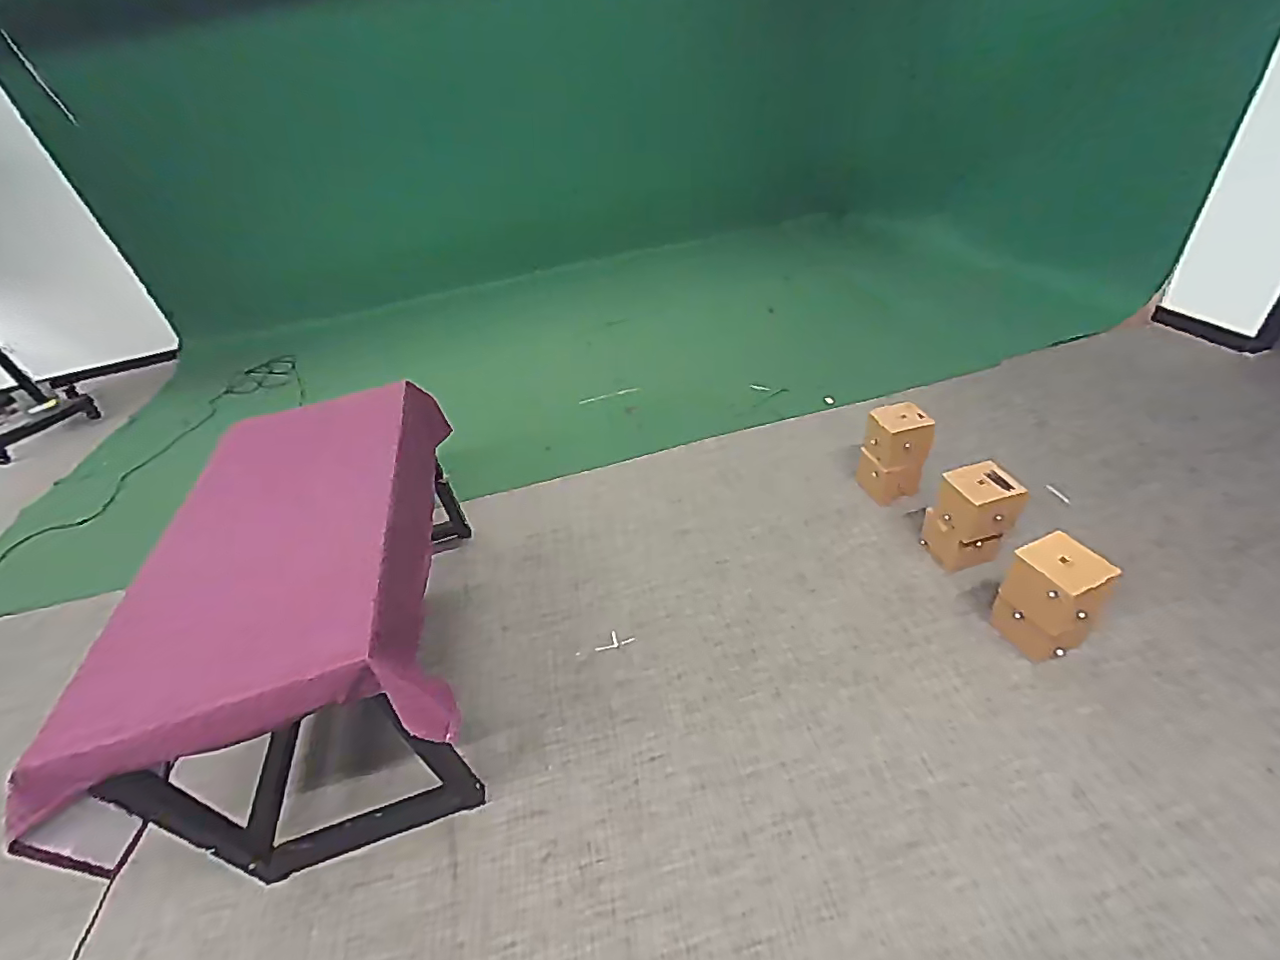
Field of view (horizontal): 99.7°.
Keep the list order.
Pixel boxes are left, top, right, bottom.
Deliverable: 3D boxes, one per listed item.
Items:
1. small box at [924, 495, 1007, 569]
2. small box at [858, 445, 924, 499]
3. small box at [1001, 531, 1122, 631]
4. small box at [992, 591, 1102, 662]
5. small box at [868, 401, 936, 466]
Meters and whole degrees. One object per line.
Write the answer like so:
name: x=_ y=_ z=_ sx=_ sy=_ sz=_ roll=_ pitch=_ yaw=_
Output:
small box: x=1.102 y=0.181 z=1.849 sx=0.179 sy=0.176 sz=0.168 roll=-15 pitch=39 yaw=-5
small box: x=0.990 y=-0.041 z=2.149 sx=0.168 sy=0.176 sz=0.179 roll=-15 pitch=39 yaw=-6
small box: x=1.131 y=0.275 z=1.469 sx=0.168 sy=0.176 sz=0.179 roll=-21 pitch=40 yaw=-10
small box: x=1.171 y=0.393 z=1.574 sx=0.168 sy=0.176 sz=0.179 roll=-18 pitch=40 yaw=-6
small box: x=0.982 y=-0.173 z=2.049 sx=0.179 sy=0.176 sz=0.168 roll=-14 pitch=39 yaw=-2
